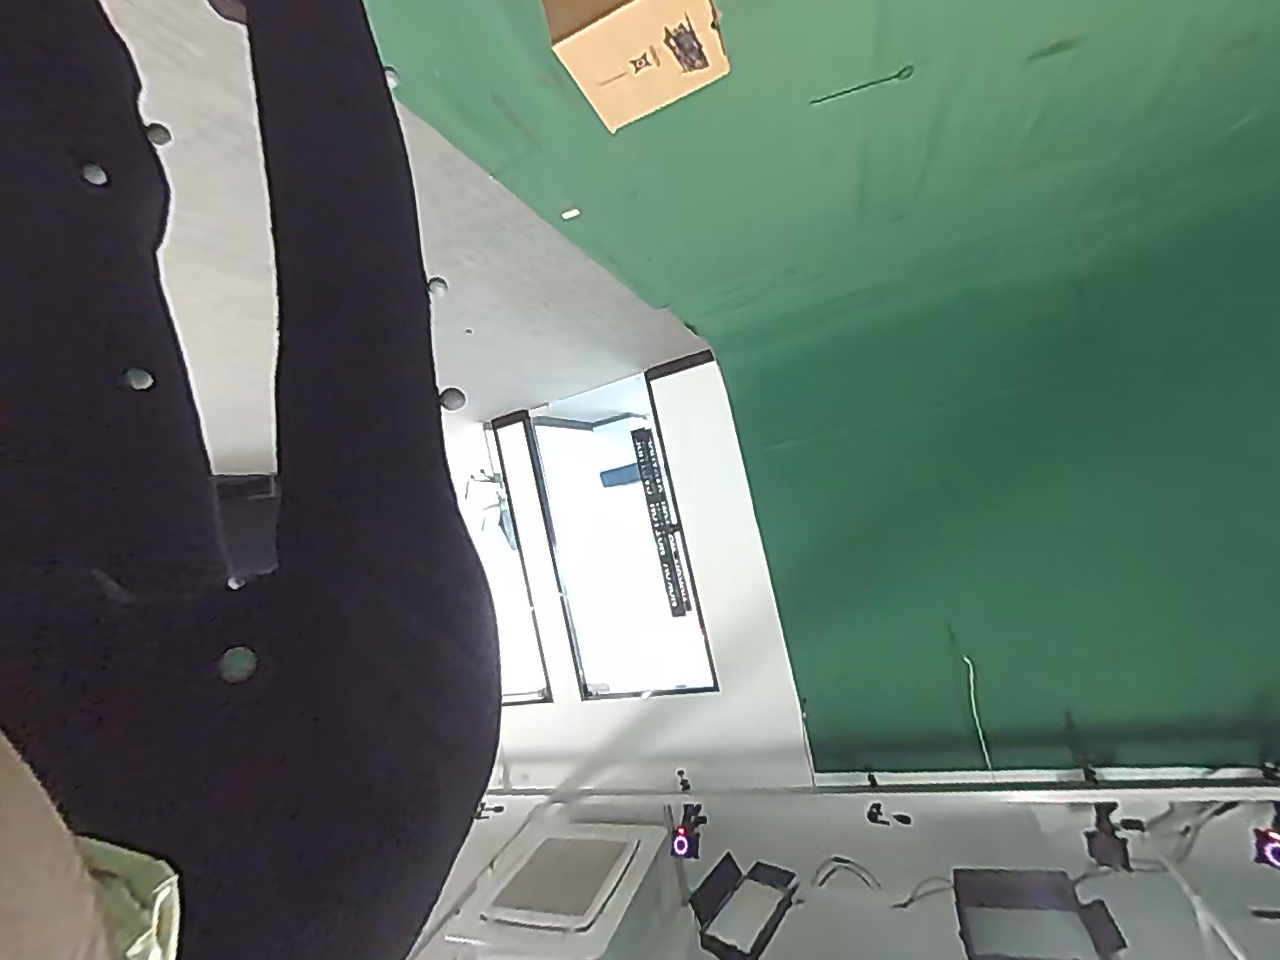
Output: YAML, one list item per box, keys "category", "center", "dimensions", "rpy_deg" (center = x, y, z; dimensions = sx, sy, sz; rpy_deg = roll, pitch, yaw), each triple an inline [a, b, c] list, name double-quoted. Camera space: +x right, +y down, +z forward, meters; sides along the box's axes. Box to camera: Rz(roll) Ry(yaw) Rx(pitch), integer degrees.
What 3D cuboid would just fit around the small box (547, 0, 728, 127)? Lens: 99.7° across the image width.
- category: "small box"
  center: [-0.010, -0.583, 0.647]
  dimensions: [0.179, 0.176, 0.168]
  rpy_deg: [-14, 177, 20]
